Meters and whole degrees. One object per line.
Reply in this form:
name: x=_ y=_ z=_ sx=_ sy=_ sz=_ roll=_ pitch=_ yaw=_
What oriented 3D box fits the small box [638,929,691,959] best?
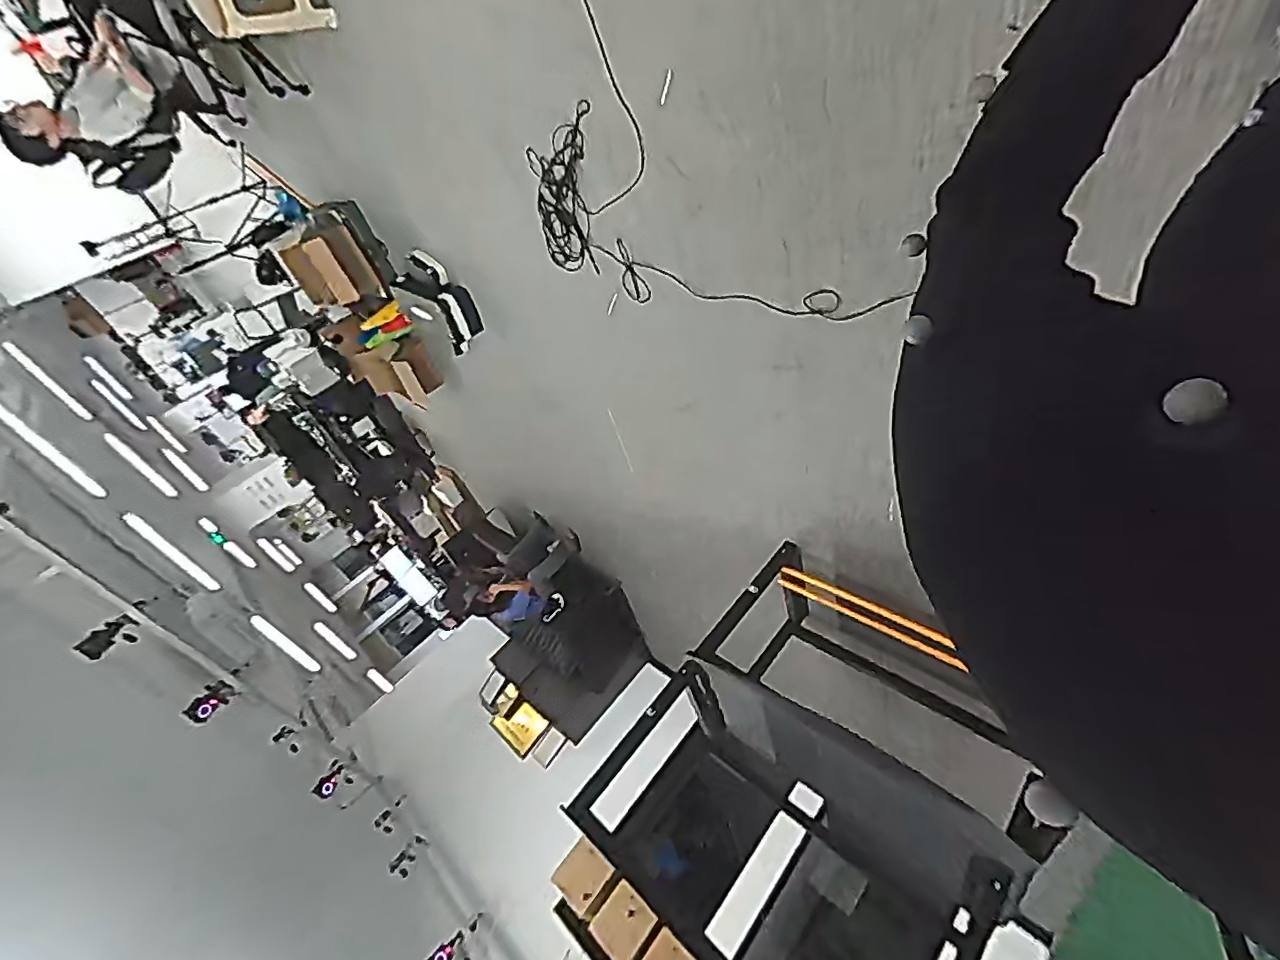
small box: x=0.086 y=1.473 z=1.580 sx=0.168 sy=0.176 sz=0.179 roll=22 pitch=143 yaw=42
